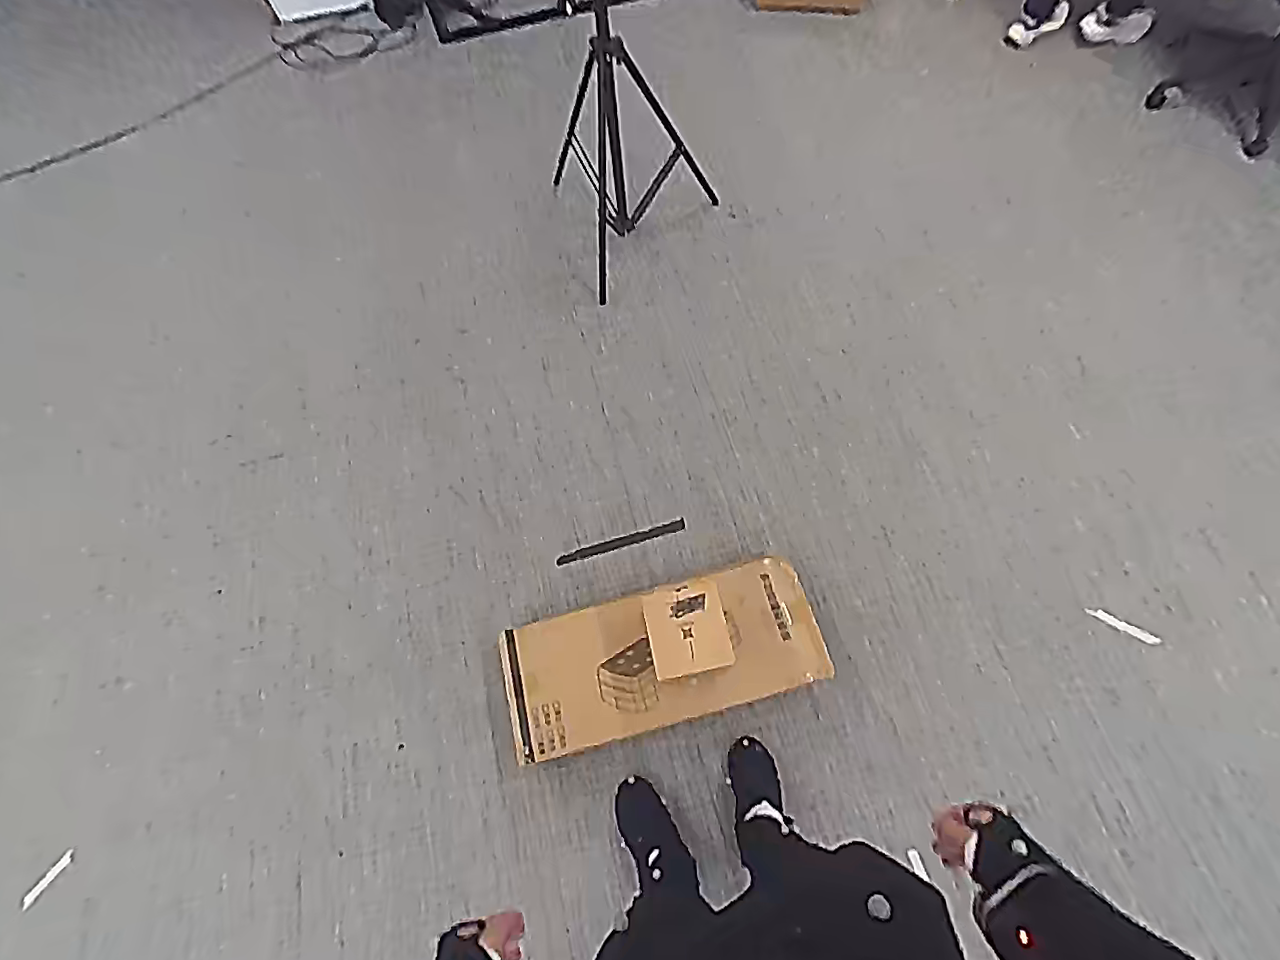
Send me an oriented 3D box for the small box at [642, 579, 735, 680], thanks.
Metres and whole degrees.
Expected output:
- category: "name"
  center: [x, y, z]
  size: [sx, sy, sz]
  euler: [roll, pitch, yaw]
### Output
- category: "small box"
  center: [0.102, 0.337, 1.198]
  size: [0.168, 0.176, 0.179]
  euler: [-12, 68, -1]
